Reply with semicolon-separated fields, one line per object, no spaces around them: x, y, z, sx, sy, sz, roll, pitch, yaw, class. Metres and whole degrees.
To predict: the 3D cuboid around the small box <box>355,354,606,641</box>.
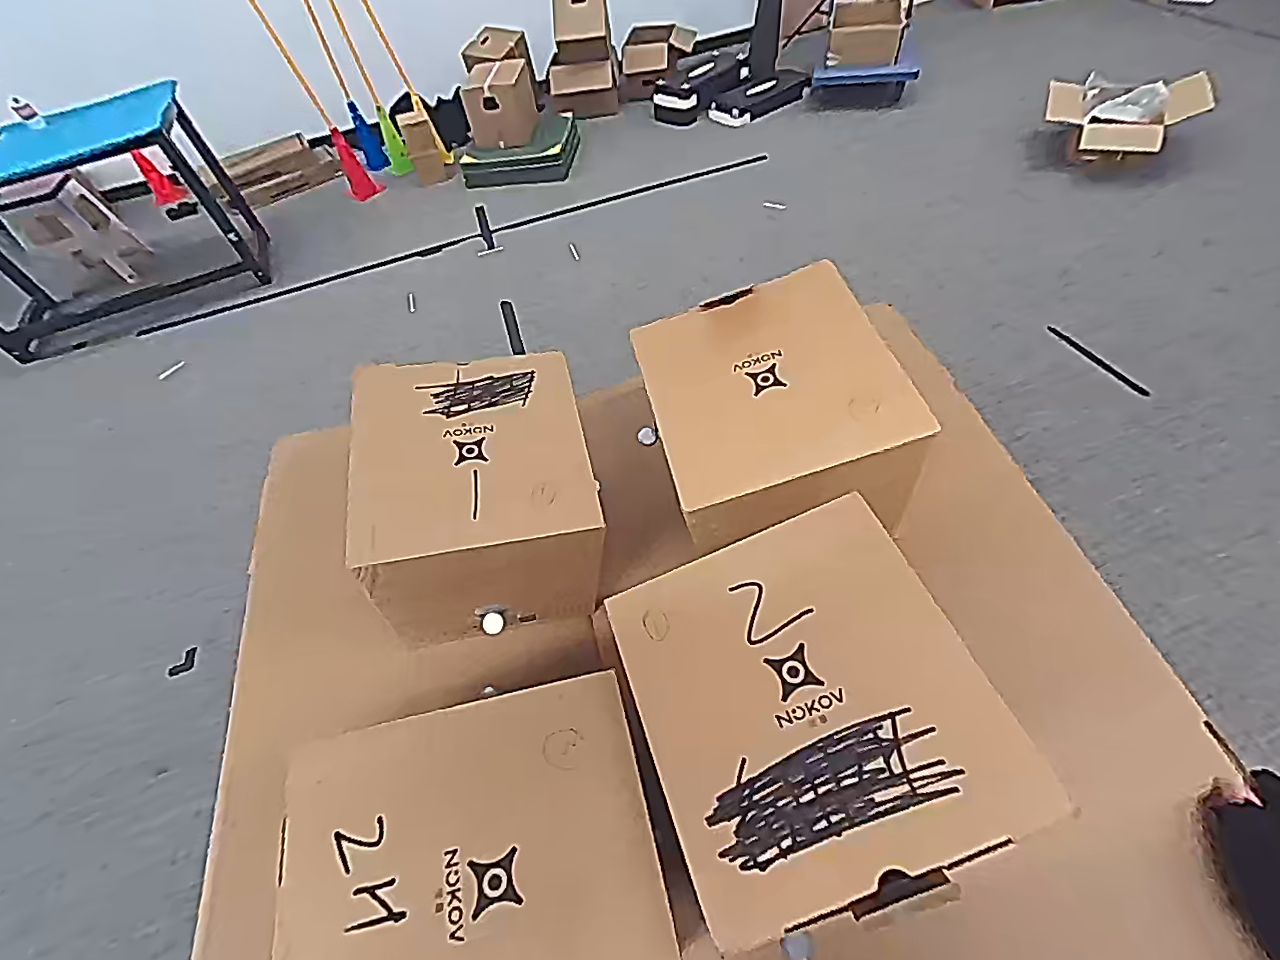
-0.130;0.017;0.470;0.168;0.176;0.179;-9;57;-13;small box

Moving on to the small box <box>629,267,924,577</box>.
0.104;-0.034;0.454;0.168;0.176;0.179;-18;56;5;small box
